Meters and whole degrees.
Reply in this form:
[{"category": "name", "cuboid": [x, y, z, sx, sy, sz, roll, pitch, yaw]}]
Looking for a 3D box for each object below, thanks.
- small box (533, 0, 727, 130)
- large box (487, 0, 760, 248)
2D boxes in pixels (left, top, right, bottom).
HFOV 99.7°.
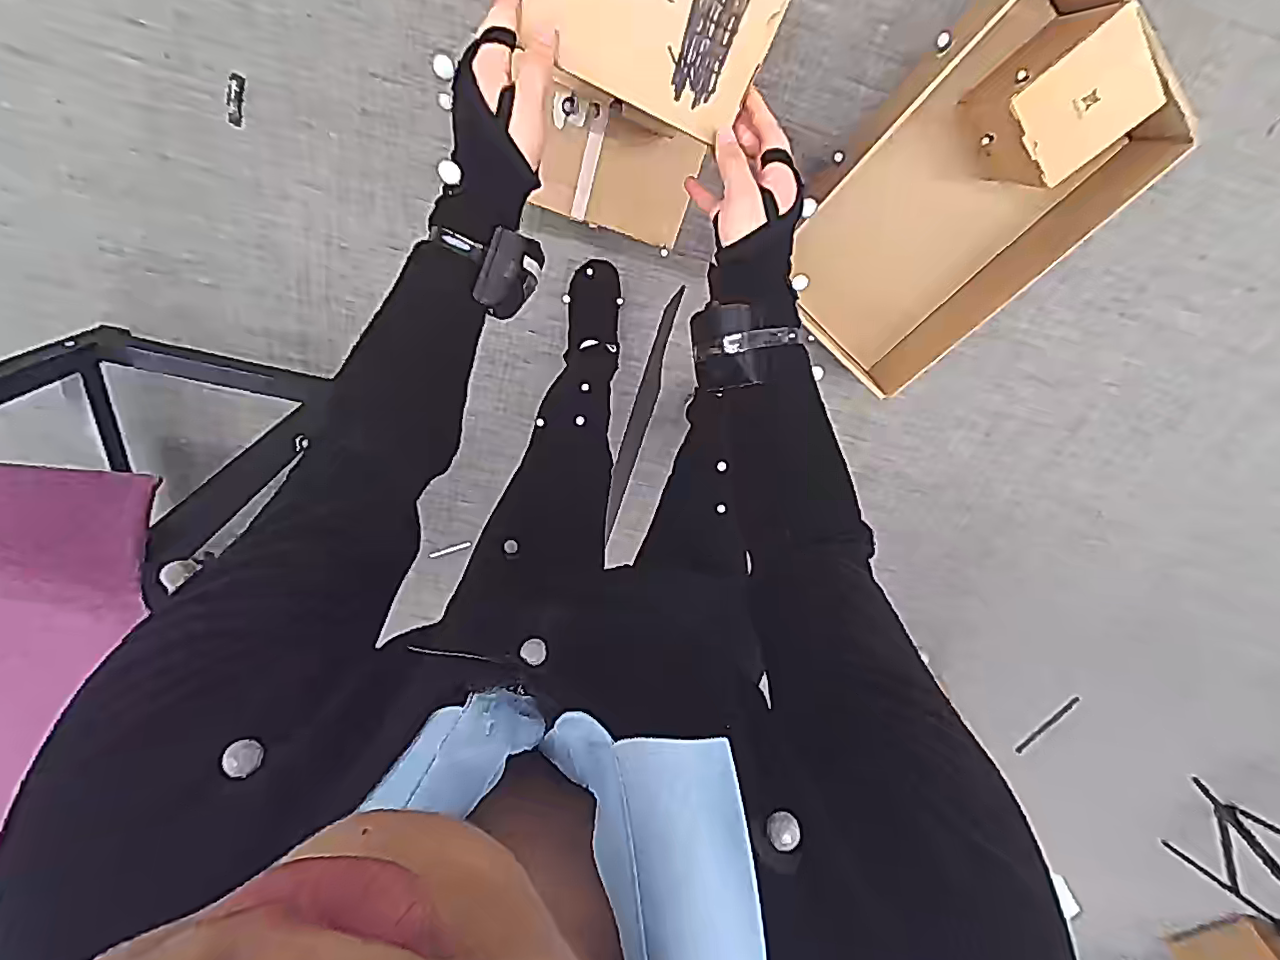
[{"category": "small box", "cuboid": [-0.006, -0.531, 0.626, 0.179, 0.176, 0.168, 19, 122, -12]}, {"category": "large box", "cuboid": [-0.025, -0.644, 0.847, 0.320, 0.320, 0.408, 16, 123, -8]}]
